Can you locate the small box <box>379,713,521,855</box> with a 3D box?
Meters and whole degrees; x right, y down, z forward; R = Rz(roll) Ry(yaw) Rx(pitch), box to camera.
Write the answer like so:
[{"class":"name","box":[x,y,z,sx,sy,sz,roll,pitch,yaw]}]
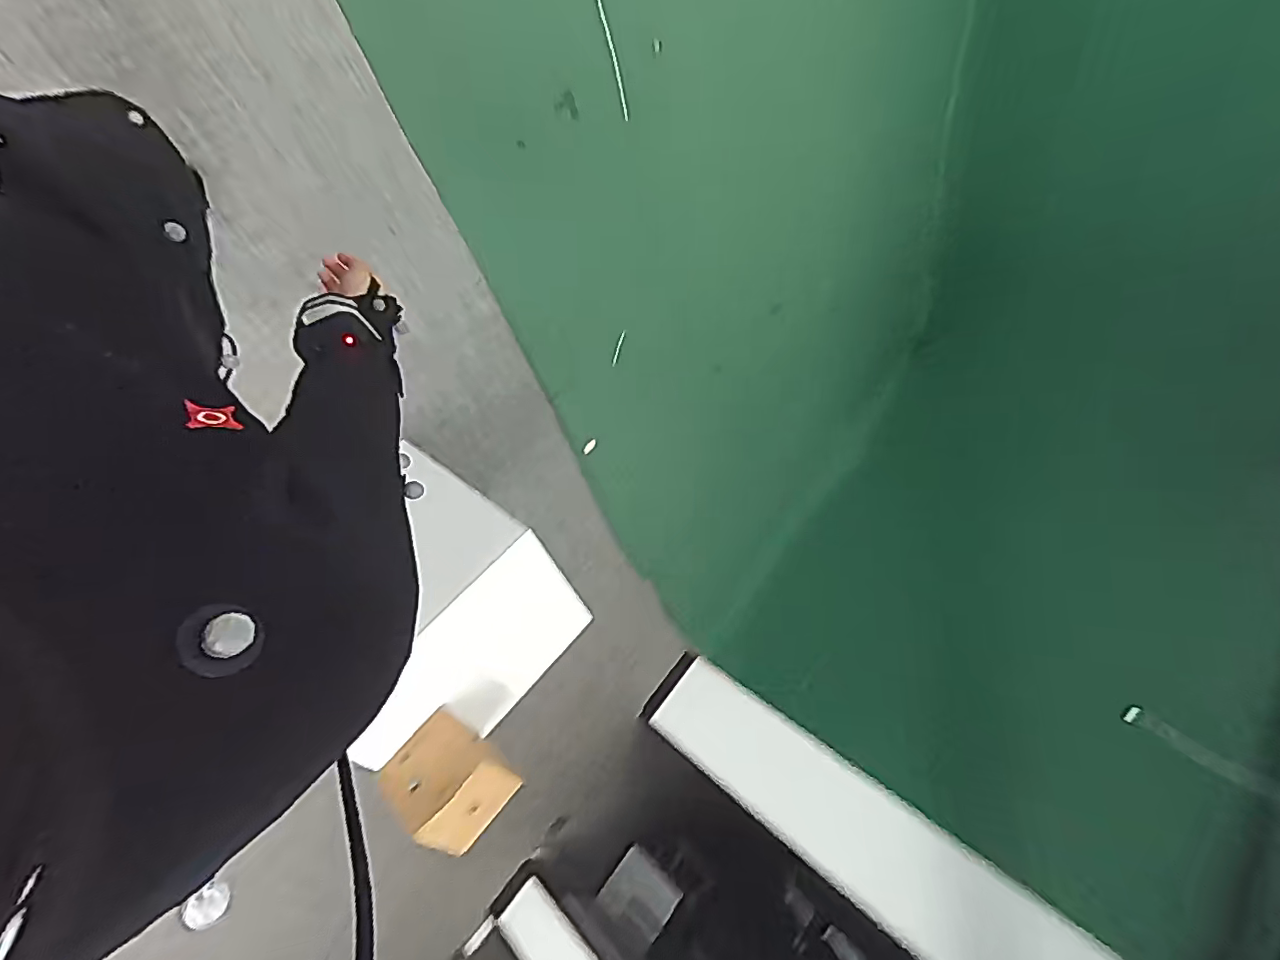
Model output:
[{"class":"small box","box":[-0.378,0.598,1.078,0.168,0.176,0.179,-46,141,-21]}]
